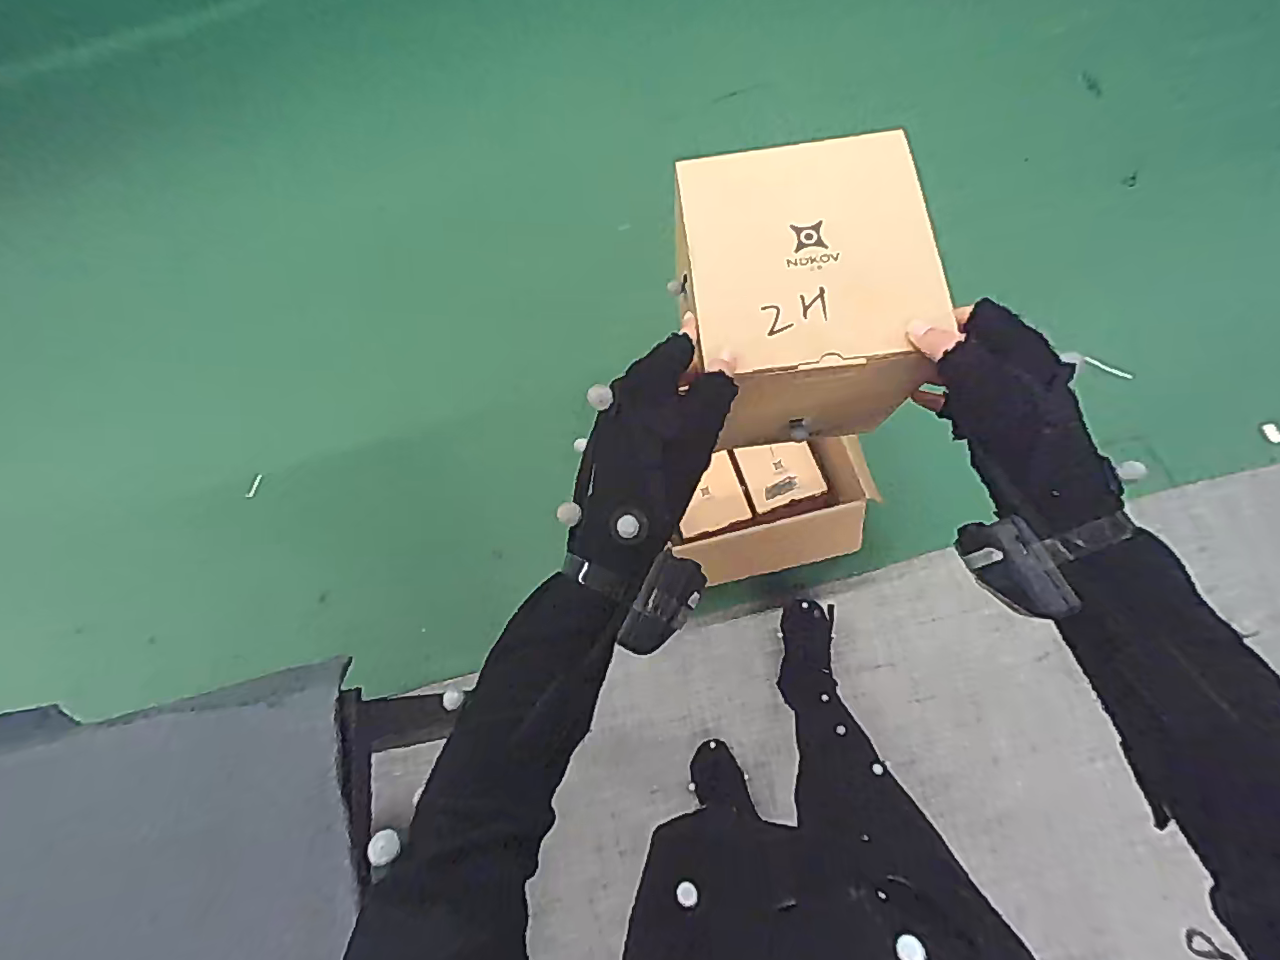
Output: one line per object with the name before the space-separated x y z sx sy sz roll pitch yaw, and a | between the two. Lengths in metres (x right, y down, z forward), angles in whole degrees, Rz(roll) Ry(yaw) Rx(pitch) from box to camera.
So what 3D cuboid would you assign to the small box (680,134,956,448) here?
small box | 0.122 -0.141 0.451 0.168 0.176 0.179 -6 76 3
